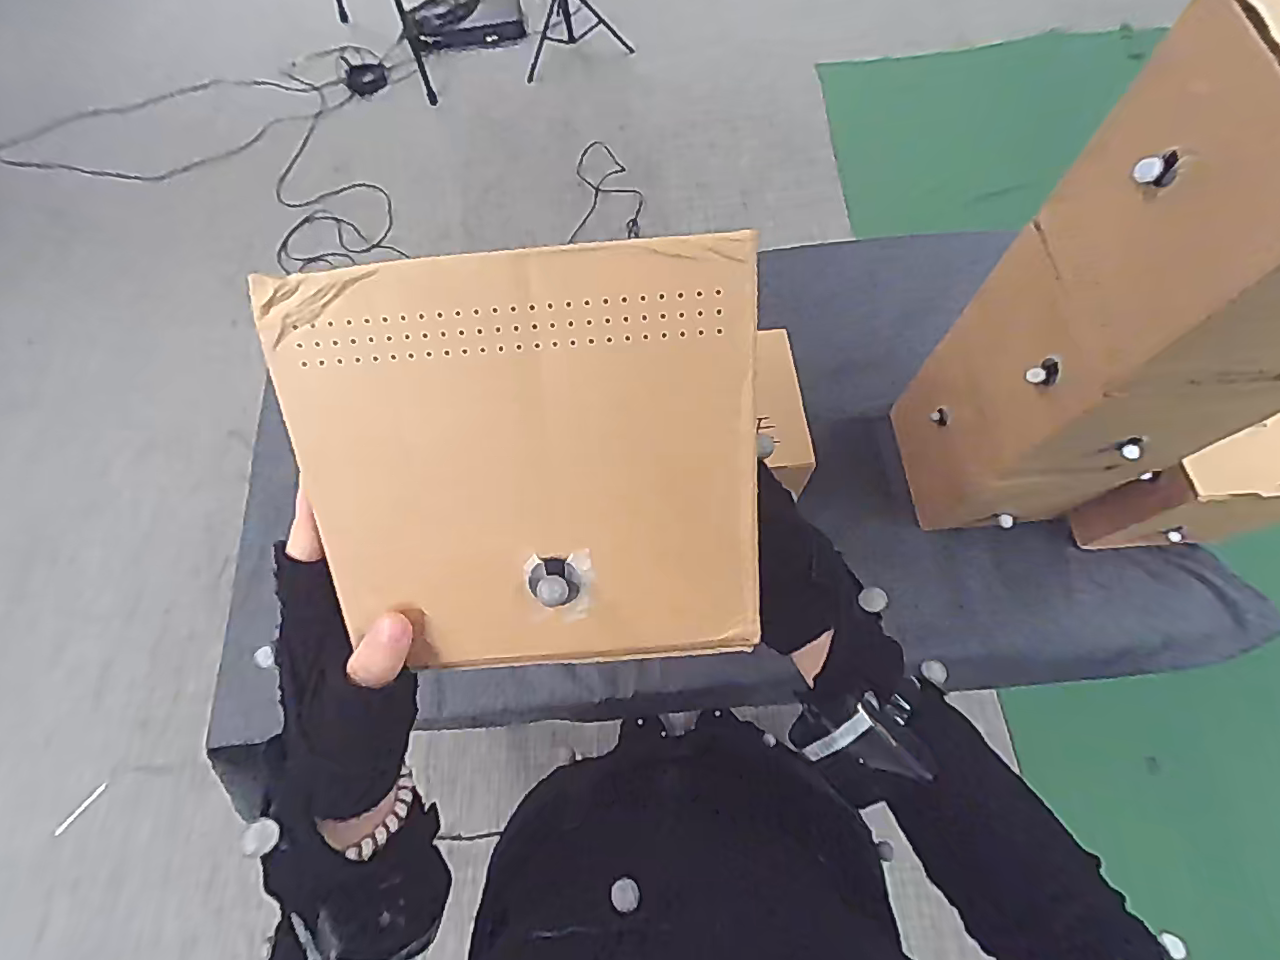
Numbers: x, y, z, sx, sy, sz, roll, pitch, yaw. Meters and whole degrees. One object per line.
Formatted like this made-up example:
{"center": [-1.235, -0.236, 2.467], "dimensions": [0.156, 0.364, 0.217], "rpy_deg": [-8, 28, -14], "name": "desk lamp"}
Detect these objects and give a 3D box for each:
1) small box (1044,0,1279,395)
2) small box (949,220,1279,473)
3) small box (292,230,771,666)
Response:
{"center": [0.402, -0.173, 0.339], "dimensions": [0.168, 0.176, 0.179], "rpy_deg": [-2, 67, 5], "name": "small box"}
{"center": [0.417, -0.113, 0.491], "dimensions": [0.168, 0.176, 0.179], "rpy_deg": [-4, 67, 3], "name": "small box"}
{"center": [-0.036, -0.029, 0.285], "dimensions": [0.179, 0.168, 0.176], "rpy_deg": [-4, 108, 1], "name": "small box"}
